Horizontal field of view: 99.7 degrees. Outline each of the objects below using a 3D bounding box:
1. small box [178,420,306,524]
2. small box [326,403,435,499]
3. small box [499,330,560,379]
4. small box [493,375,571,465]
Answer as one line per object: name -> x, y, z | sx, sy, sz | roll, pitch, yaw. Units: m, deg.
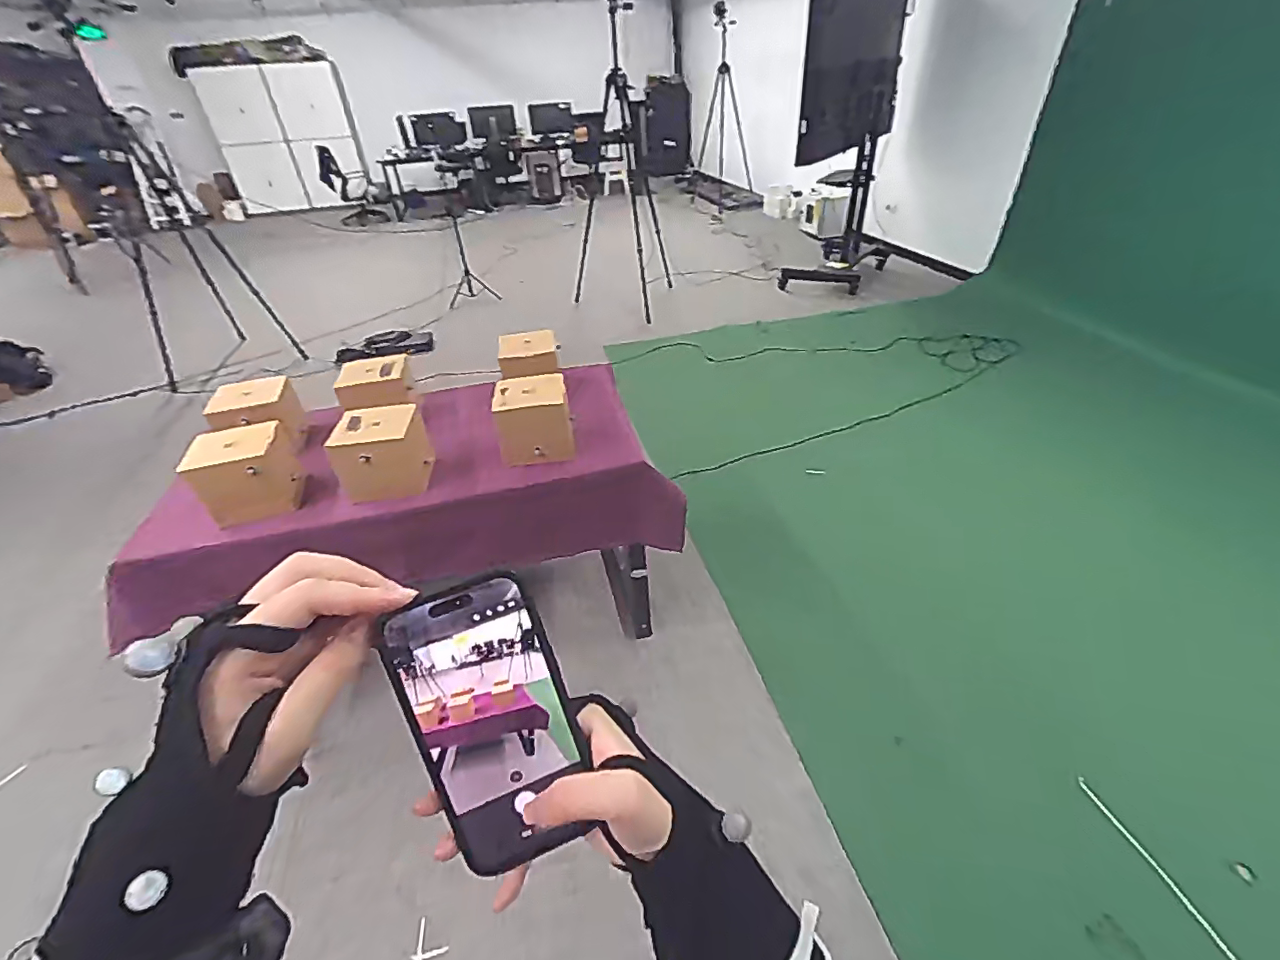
small box -> -0.929, -0.018, 1.282 | 0.179, 0.176, 0.168 | -13, 38, -15
small box -> -0.622, -0.068, 1.321 | 0.179, 0.176, 0.168 | -6, 37, -5
small box -> -0.331, -0.341, 1.653 | 0.168, 0.176, 0.179 | -9, 38, -6
small box -> -0.272, -0.156, 1.406 | 0.179, 0.176, 0.168 | -6, 37, -4
